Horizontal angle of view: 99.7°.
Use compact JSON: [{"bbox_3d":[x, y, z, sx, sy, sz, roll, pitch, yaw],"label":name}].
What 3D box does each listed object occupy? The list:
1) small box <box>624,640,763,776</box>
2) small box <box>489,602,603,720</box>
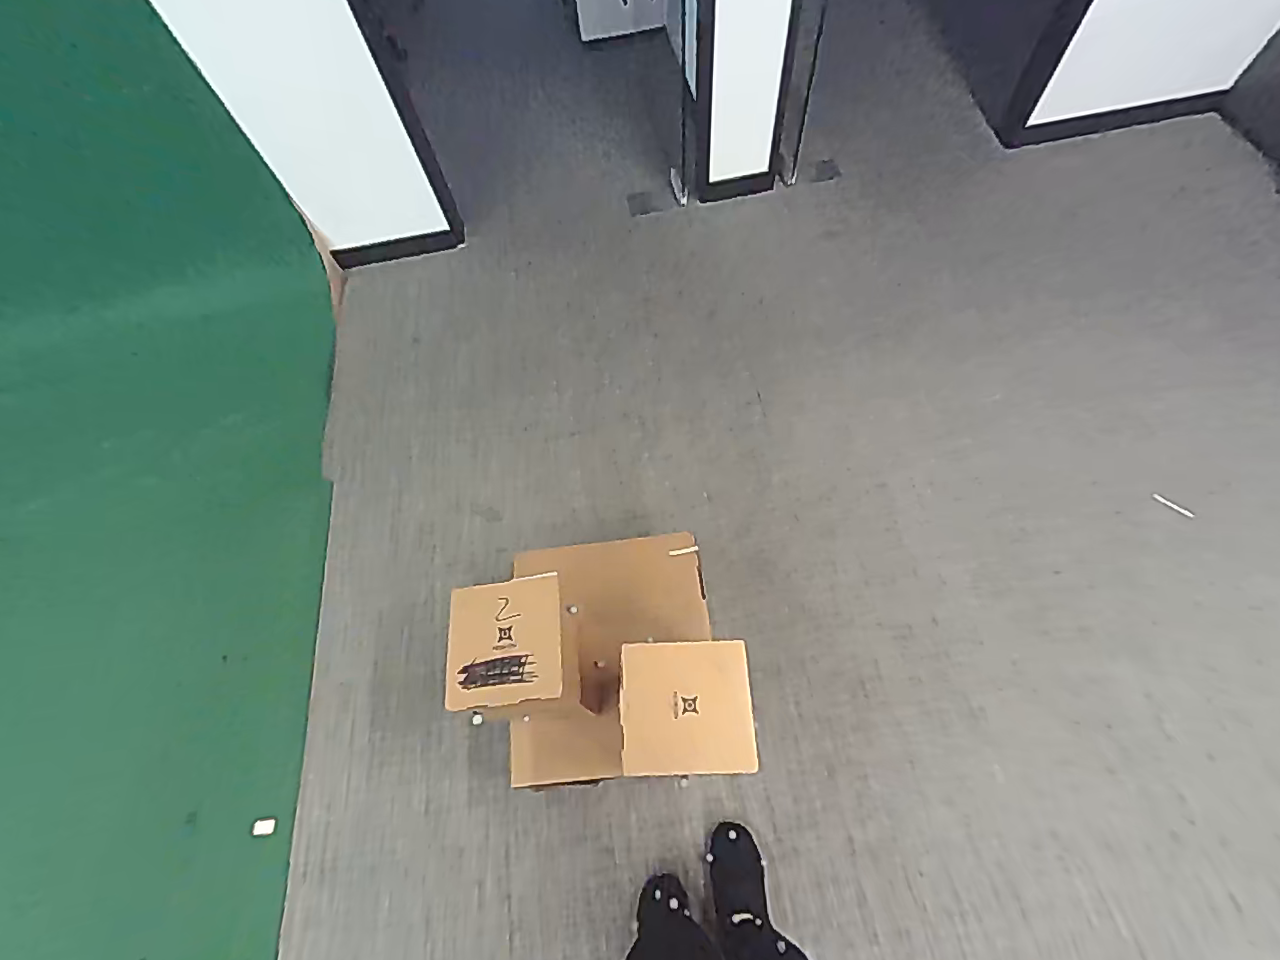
[{"bbox_3d":[0.070,0.332,0.785,0.179,0.176,0.168,-3,62,3],"label":"small box"},{"bbox_3d":[-0.162,0.335,0.991,0.168,0.176,0.179,-5,61,4],"label":"small box"}]
